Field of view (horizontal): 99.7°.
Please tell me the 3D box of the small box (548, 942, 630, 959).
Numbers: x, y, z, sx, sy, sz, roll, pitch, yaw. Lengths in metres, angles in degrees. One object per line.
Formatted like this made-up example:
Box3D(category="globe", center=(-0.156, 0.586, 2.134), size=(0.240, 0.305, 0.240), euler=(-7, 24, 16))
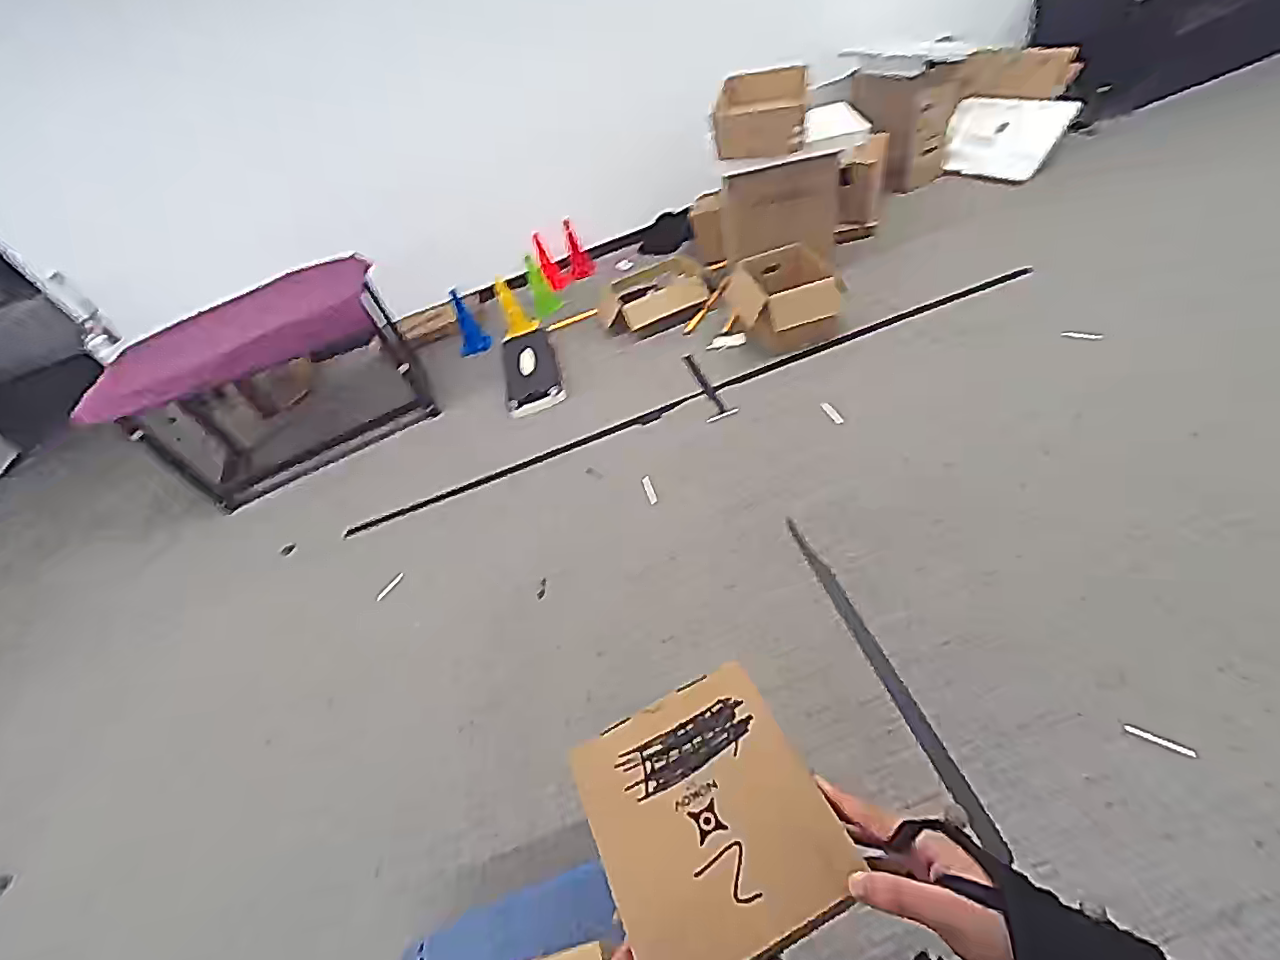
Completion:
Box3D(category="small box", center=(-0.106, 0.927, 0.924), size=(0.179, 0.176, 0.168), euler=(-19, 44, 0))
